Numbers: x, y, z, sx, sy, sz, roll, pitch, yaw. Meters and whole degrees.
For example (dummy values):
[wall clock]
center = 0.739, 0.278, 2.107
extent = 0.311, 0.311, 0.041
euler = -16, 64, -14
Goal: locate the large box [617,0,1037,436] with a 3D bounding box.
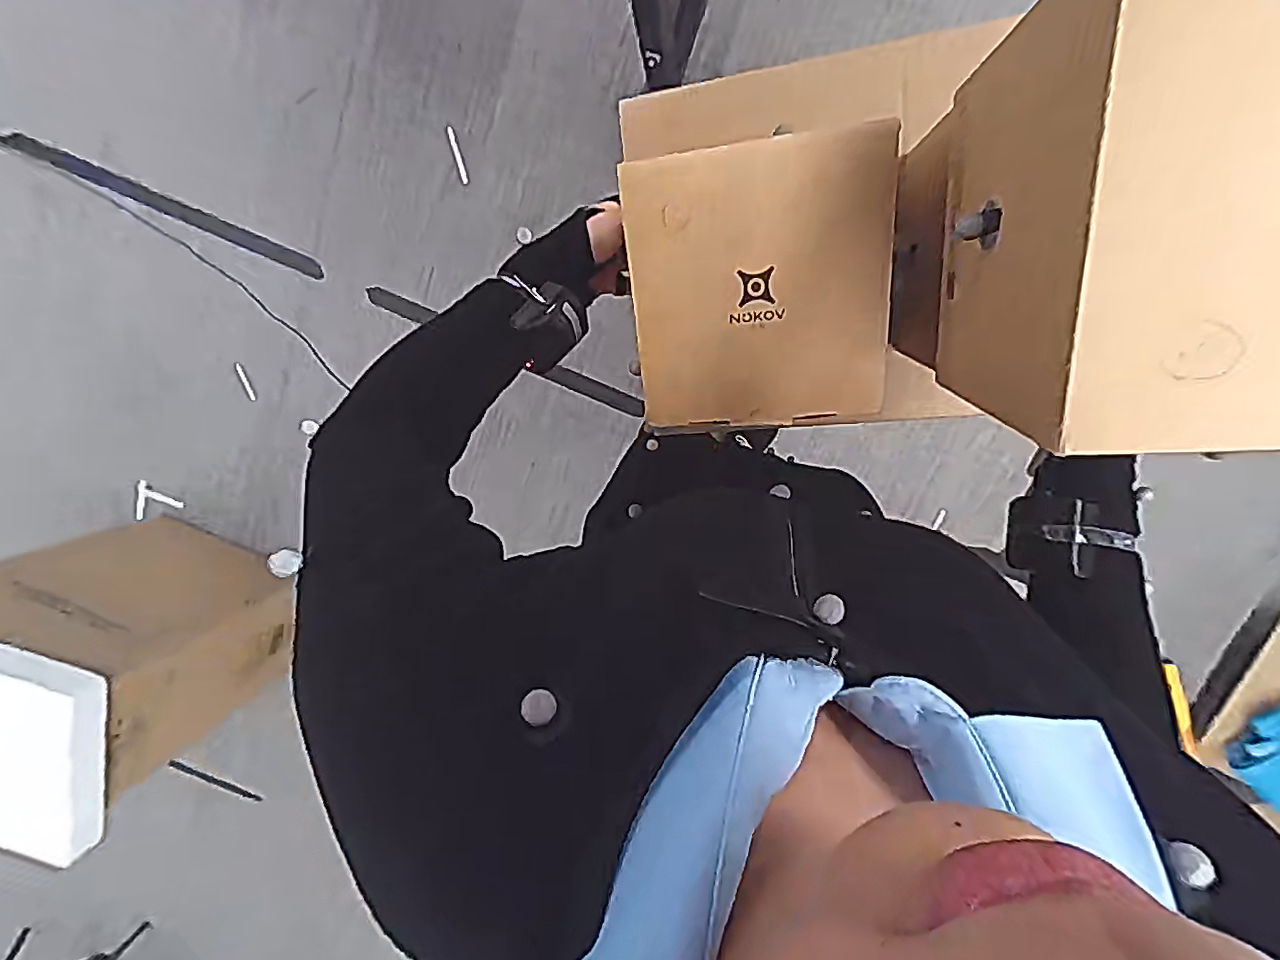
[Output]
[large box]
center = 0.225, -0.252, 0.624
extent = 0.408, 0.320, 0.320
euler = -4, 105, 15

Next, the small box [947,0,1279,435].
[small box]
center = 0.244, -0.119, 0.219
extent = 0.179, 0.176, 0.168
euler = -2, 109, 14
